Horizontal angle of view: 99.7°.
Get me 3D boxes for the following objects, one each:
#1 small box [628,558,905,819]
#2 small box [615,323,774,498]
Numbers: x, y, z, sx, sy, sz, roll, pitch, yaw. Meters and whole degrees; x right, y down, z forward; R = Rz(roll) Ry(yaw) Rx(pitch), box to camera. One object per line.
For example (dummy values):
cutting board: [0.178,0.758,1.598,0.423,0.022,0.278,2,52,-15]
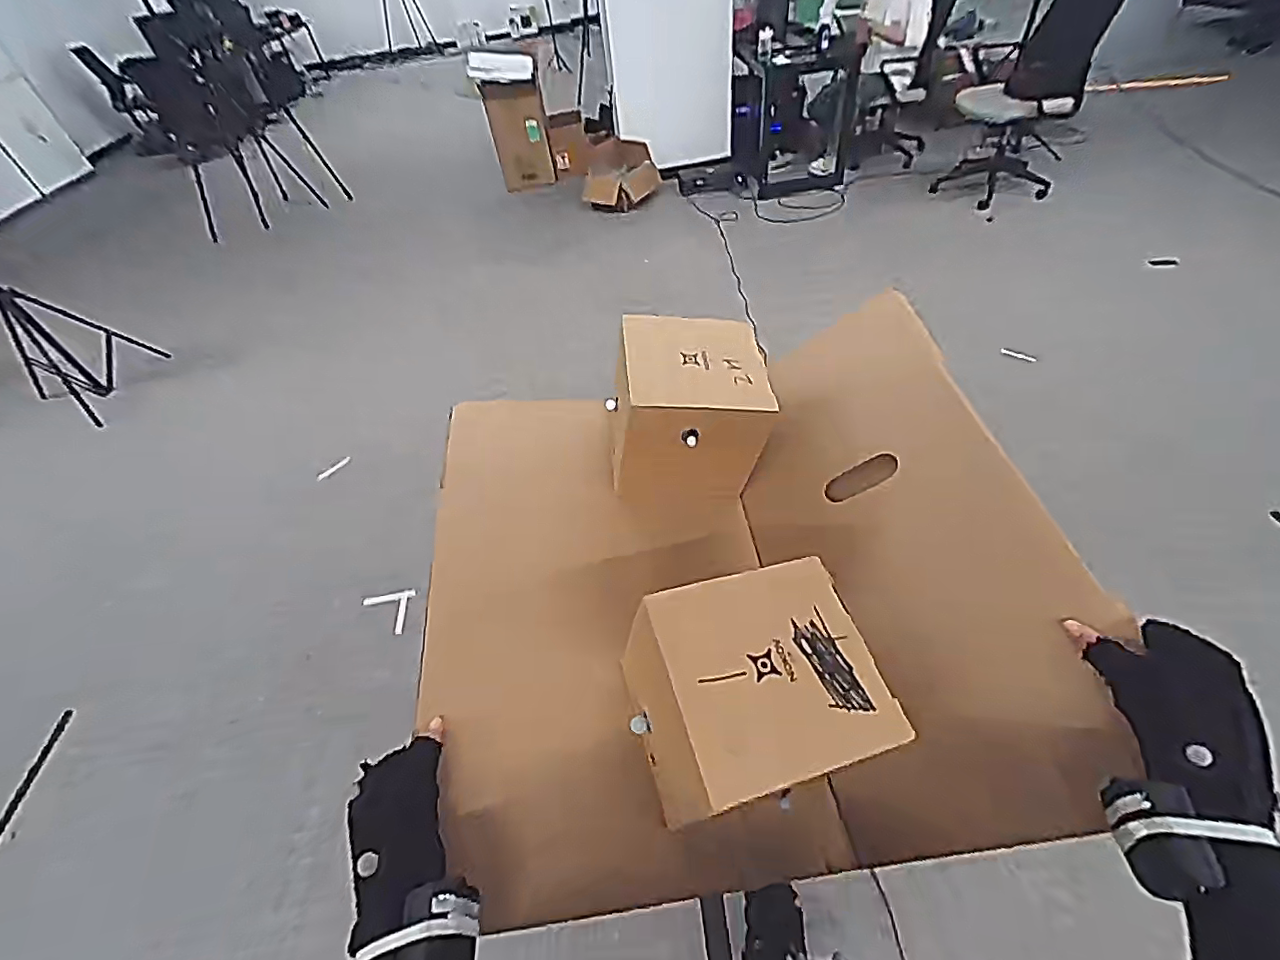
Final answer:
small box: [0.098,0.198,0.513,0.179,0.176,0.168,-10,55,-16]
small box: [0.058,-0.089,0.730,0.179,0.176,0.168,2,53,-9]
